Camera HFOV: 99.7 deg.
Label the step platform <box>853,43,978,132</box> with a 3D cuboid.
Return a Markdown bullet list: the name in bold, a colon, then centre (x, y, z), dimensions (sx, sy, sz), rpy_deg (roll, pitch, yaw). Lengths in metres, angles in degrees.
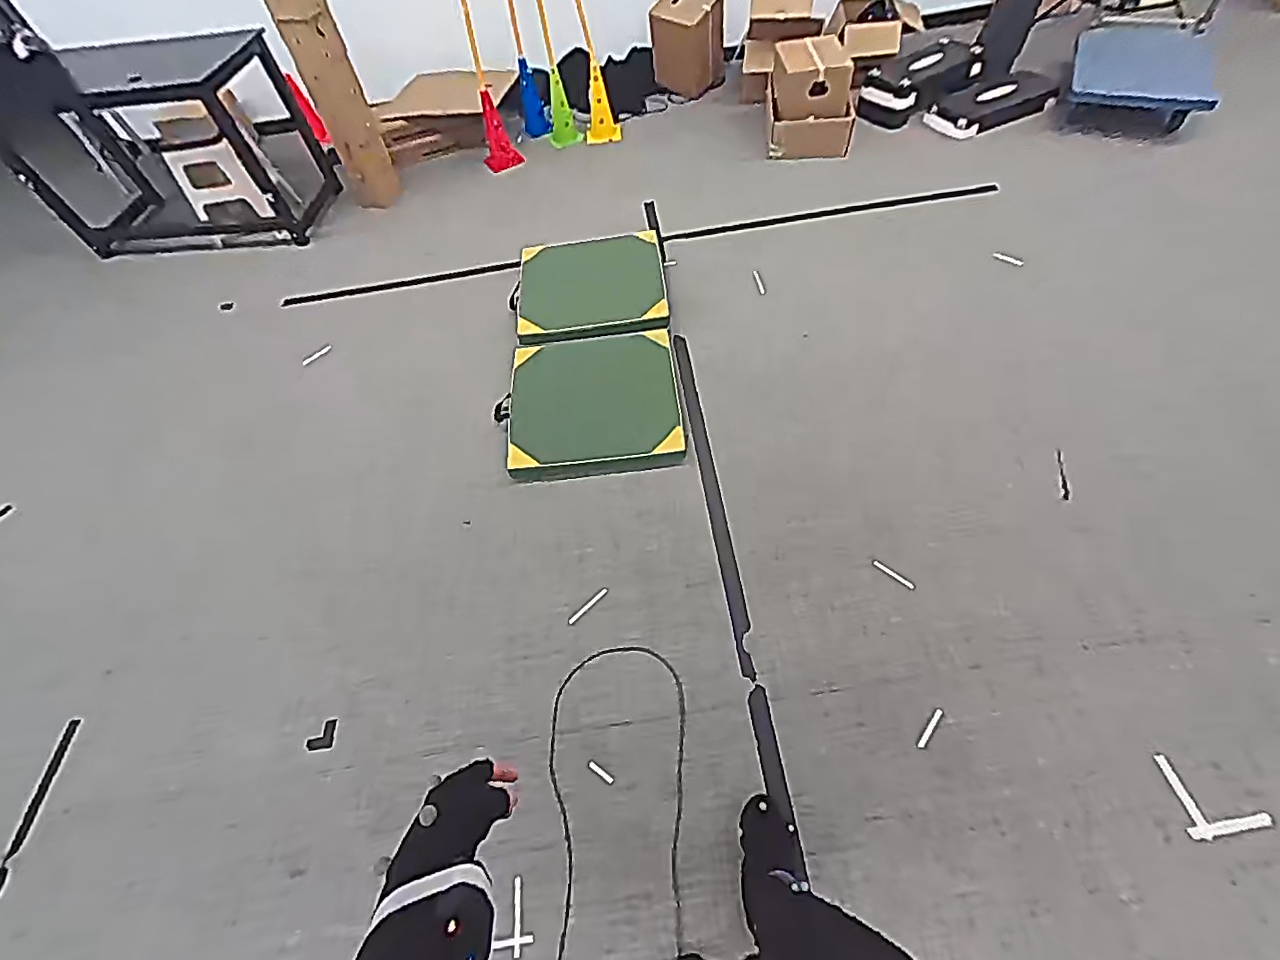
- **step platform**: centre (1.512, -2.163, 2.965), dimensions (0.684, 0.204, 0.286), rpy_deg (-33, 59, -15)
